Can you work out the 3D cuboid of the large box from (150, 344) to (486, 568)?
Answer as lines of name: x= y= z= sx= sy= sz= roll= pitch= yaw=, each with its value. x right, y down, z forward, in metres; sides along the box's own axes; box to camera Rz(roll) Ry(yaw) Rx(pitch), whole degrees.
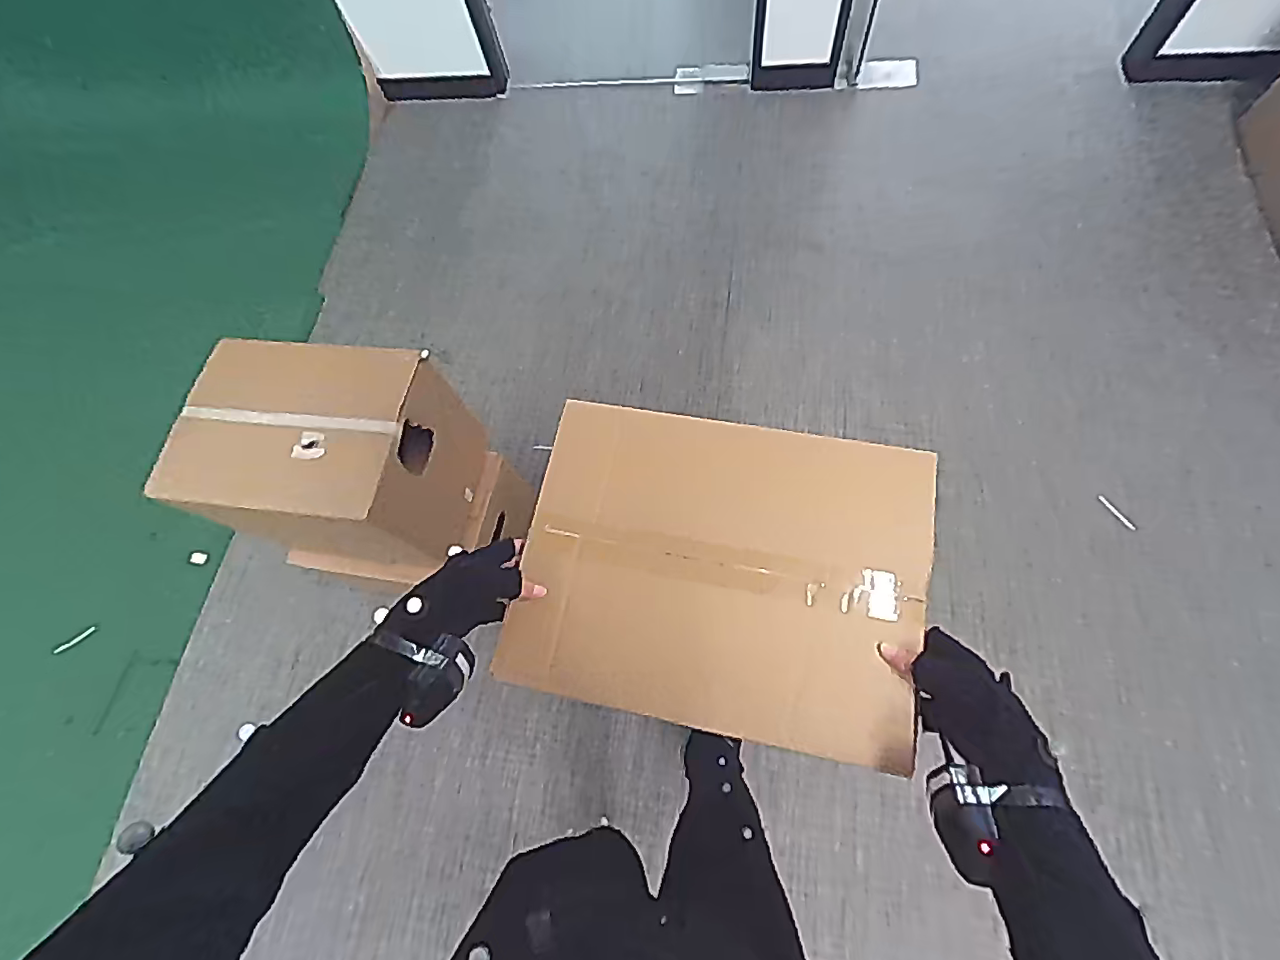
large box: x=-0.570 y=-0.035 z=1.045 sx=0.408 sy=0.320 sz=0.320 roll=6 pitch=67 yaw=8
